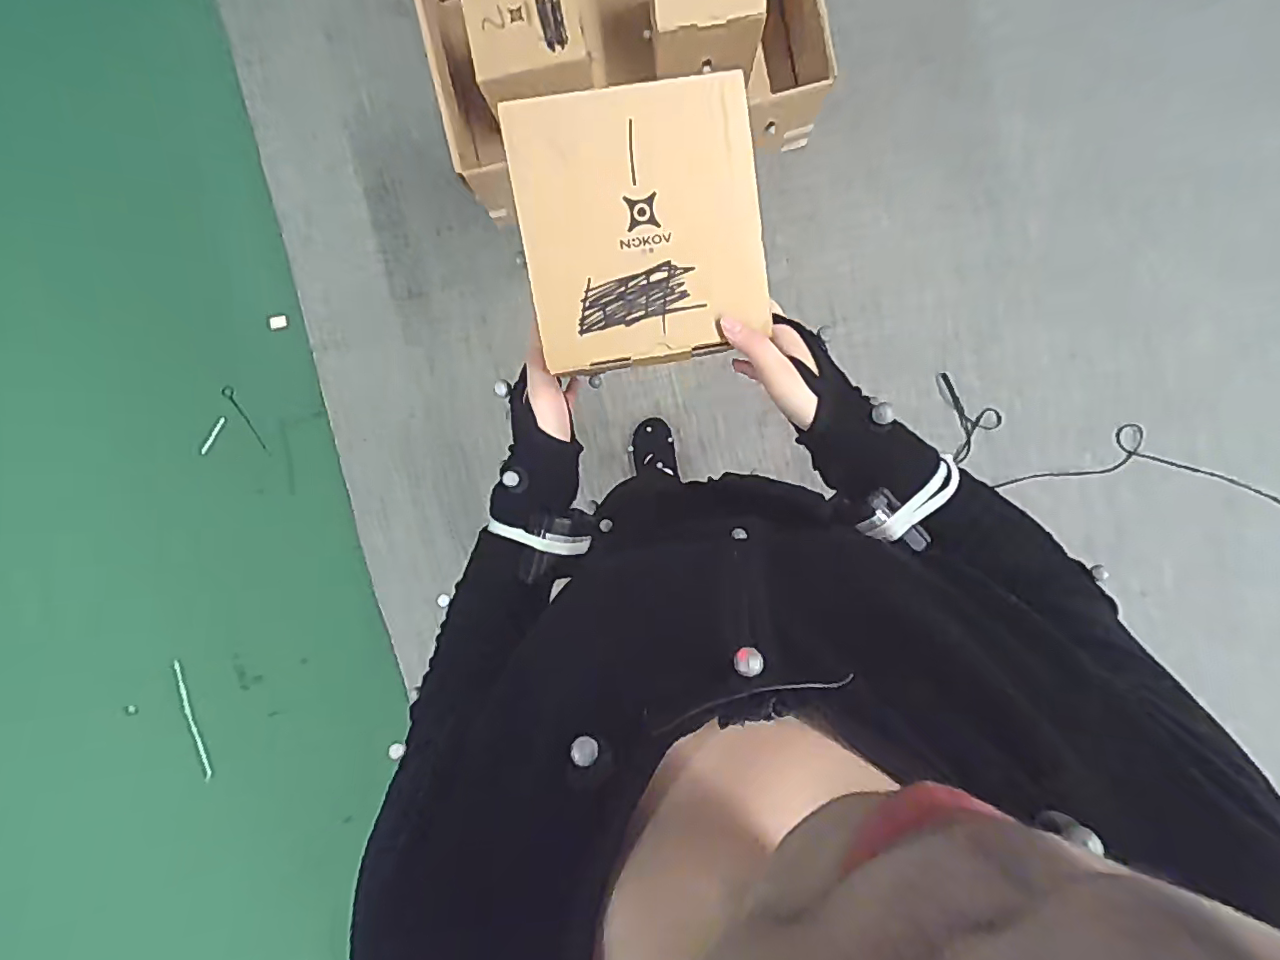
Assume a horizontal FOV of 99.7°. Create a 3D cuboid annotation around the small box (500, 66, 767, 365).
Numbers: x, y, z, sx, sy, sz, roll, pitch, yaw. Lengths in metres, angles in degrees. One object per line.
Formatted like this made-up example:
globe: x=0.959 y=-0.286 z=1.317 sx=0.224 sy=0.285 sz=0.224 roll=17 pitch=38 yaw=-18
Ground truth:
small box: x=-0.005 y=-0.192 z=0.448 sx=0.168 sy=0.176 sz=0.179 roll=-9 pitch=100 yaw=-3
